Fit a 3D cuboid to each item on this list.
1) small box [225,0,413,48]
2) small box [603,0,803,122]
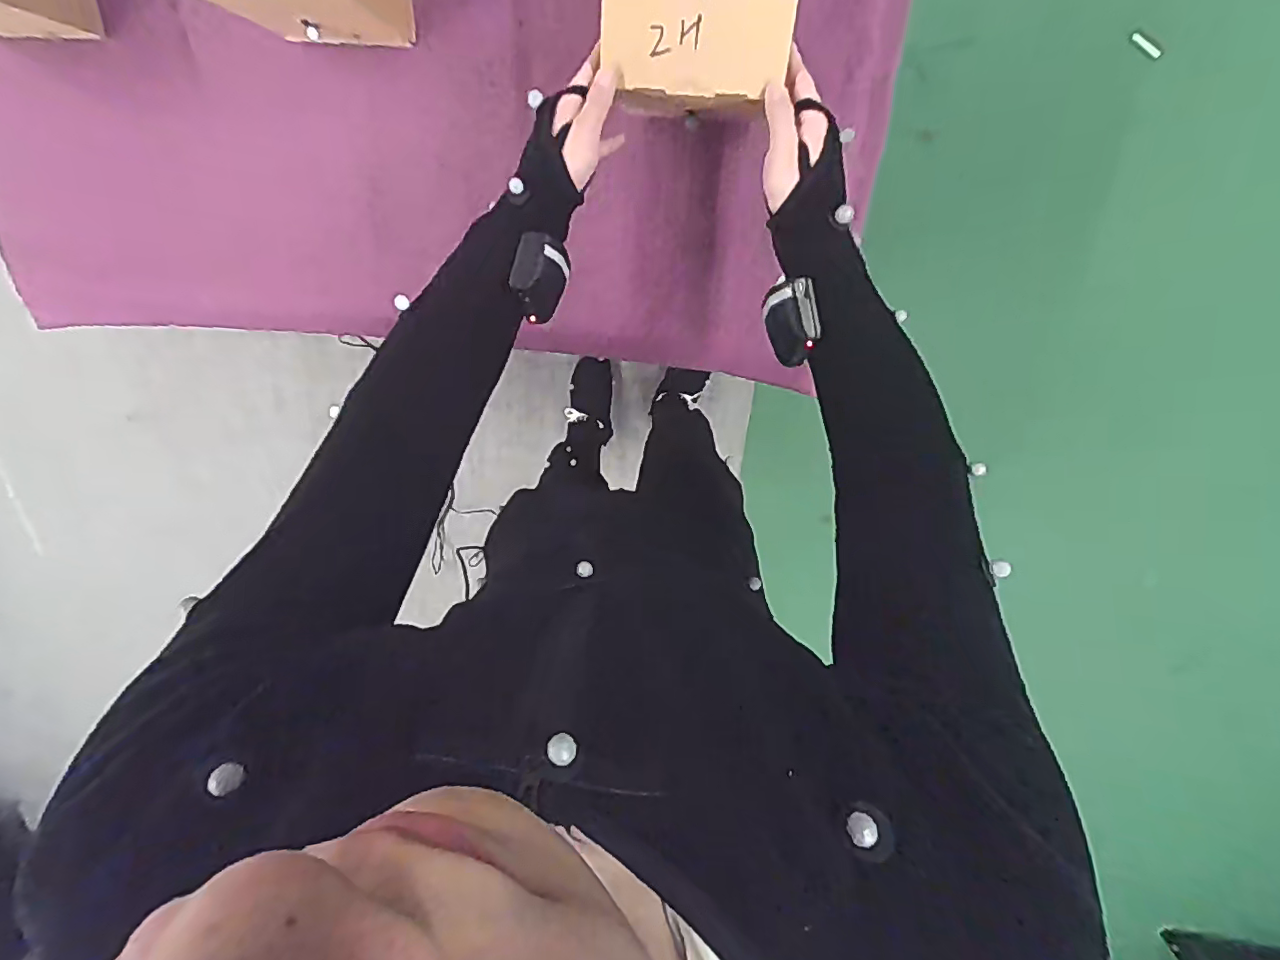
[{"bbox_3d":[-0.348,-0.569,0.538,0.168,0.176,0.179,5,115,3],"label":"small box"},{"bbox_3d":[0.063,-0.458,0.510,0.168,0.176,0.179,7,118,4],"label":"small box"}]
